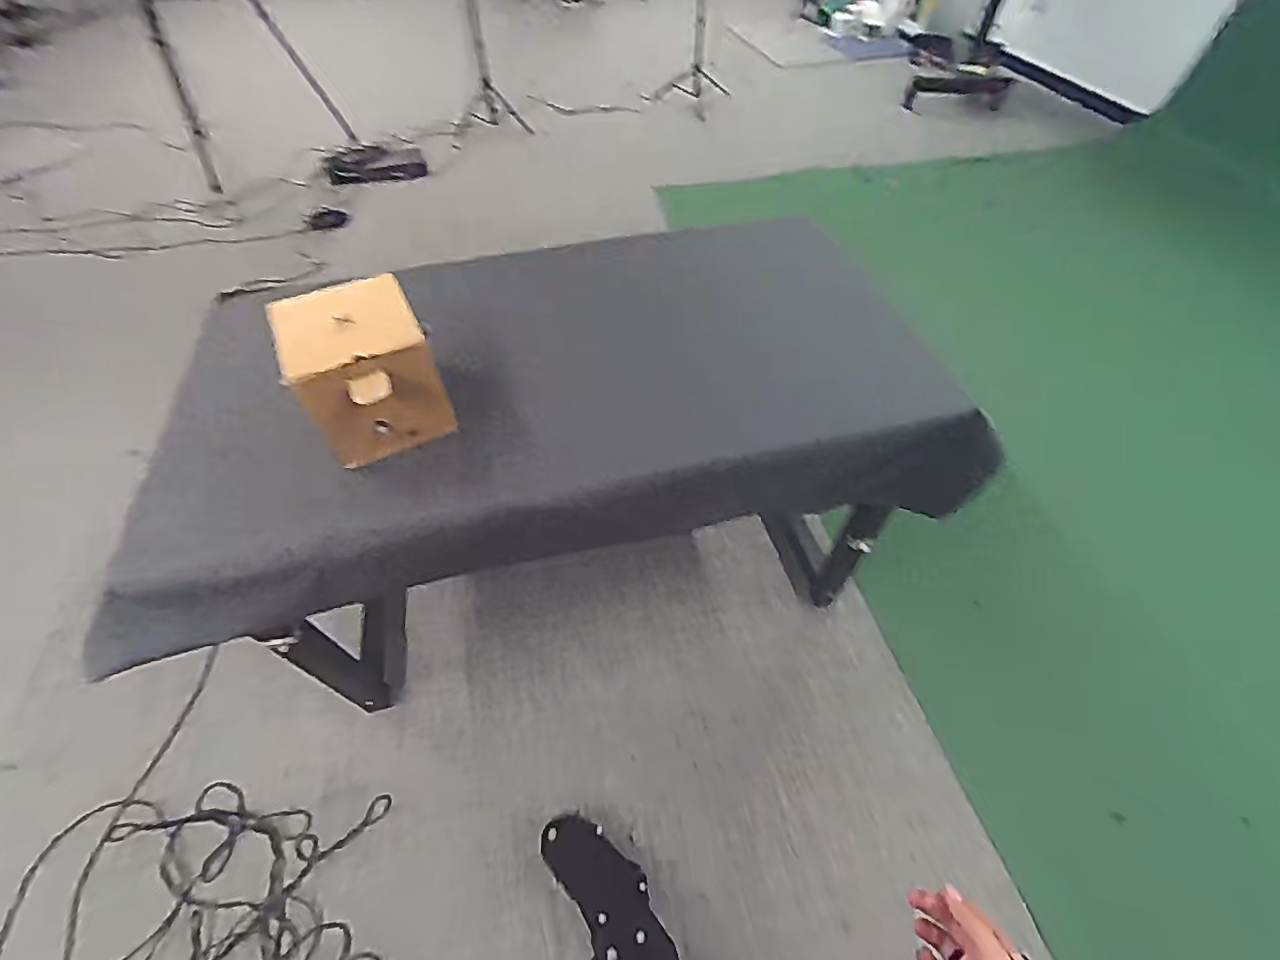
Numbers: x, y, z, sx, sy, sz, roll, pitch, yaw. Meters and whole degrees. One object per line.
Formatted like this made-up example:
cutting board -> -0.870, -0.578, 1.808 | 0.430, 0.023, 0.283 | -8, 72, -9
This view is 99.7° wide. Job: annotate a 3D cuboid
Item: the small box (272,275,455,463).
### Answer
small box -> -0.384, -0.156, 0.767 | 0.168, 0.176, 0.179 | -24, 57, -18
